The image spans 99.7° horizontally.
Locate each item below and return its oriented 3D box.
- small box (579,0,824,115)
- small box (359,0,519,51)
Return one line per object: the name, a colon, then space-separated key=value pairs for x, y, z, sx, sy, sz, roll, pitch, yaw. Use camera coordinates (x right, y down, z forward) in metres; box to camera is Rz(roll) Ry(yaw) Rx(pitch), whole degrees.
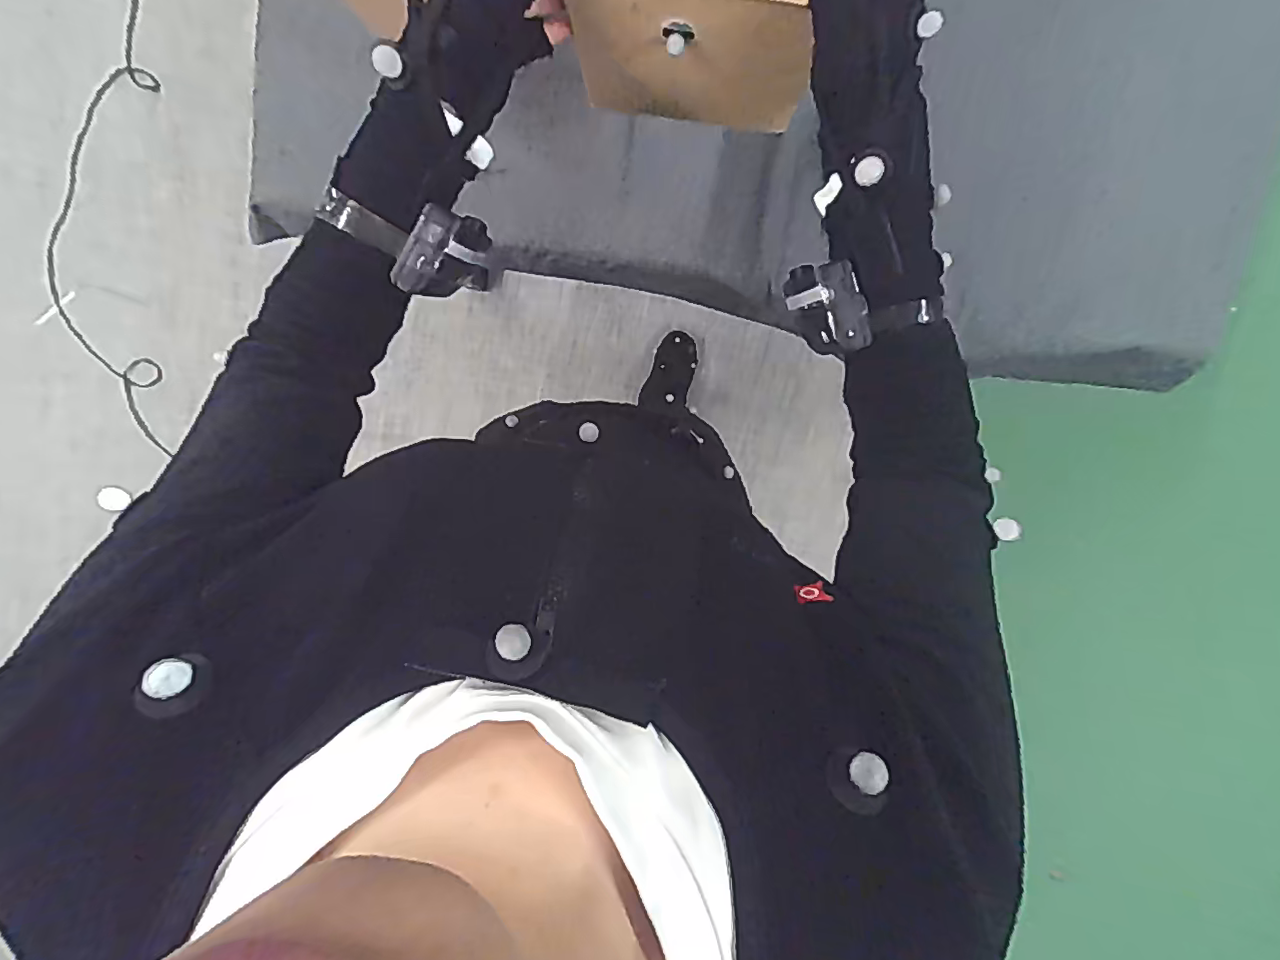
small box: x=0.048 y=-0.397 z=0.391 sx=0.179 sy=0.176 sz=0.168 roll=8 pitch=101 yaw=1
small box: x=-0.218 y=-0.581 z=0.545 sx=0.168 sy=0.176 sz=0.179 roll=9 pitch=101 yaw=0
